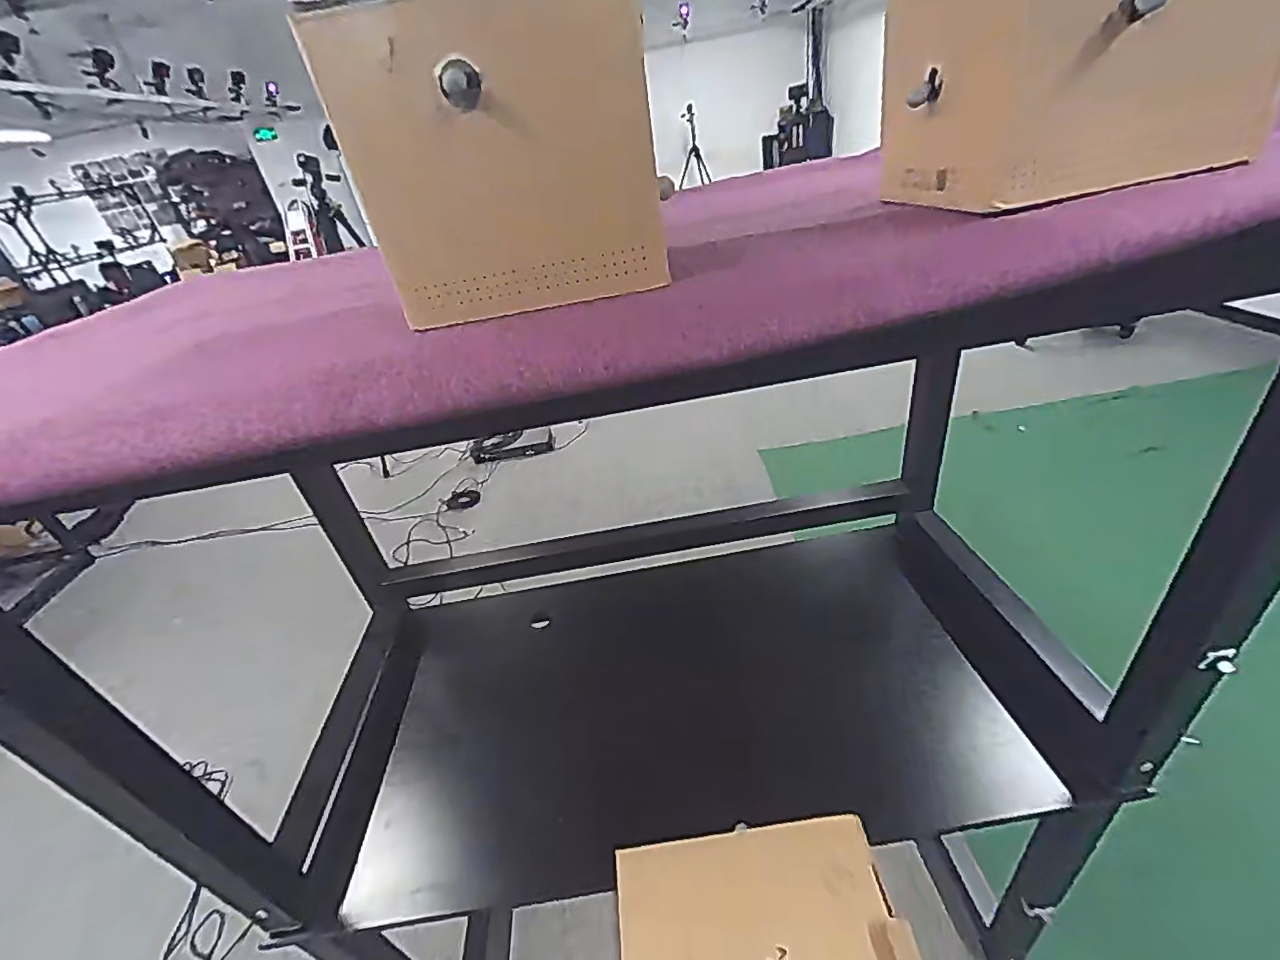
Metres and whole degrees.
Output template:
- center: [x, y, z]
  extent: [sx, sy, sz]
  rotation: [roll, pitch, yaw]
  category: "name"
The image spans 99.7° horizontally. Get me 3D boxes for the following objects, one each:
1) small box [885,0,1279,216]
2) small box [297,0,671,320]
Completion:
- center: [0.292, -0.295, 0.378]
  extent: [0.179, 0.176, 0.168]
  rotation: [-11, 31, 2]
  category: "small box"
- center: [-0.081, -0.222, 0.378]
  extent: [0.179, 0.176, 0.168]
  rotation: [-9, 33, 2]
  category: "small box"
